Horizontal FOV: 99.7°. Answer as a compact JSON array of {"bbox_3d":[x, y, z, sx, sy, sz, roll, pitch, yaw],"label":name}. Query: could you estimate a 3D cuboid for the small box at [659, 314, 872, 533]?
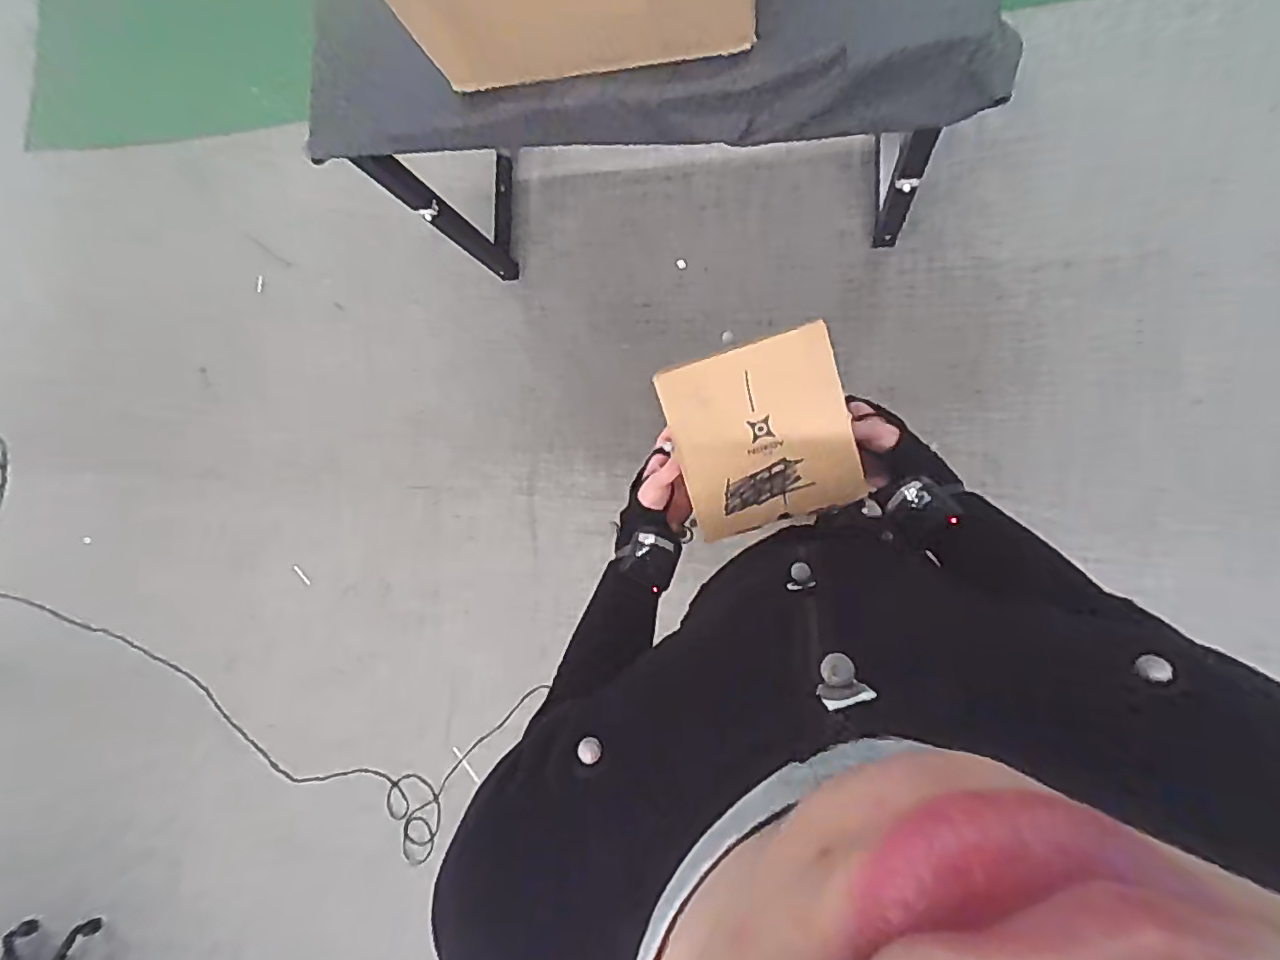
[{"bbox_3d":[0.126,-0.067,0.589,0.168,0.176,0.179,-18,101,7],"label":"small box"}]
